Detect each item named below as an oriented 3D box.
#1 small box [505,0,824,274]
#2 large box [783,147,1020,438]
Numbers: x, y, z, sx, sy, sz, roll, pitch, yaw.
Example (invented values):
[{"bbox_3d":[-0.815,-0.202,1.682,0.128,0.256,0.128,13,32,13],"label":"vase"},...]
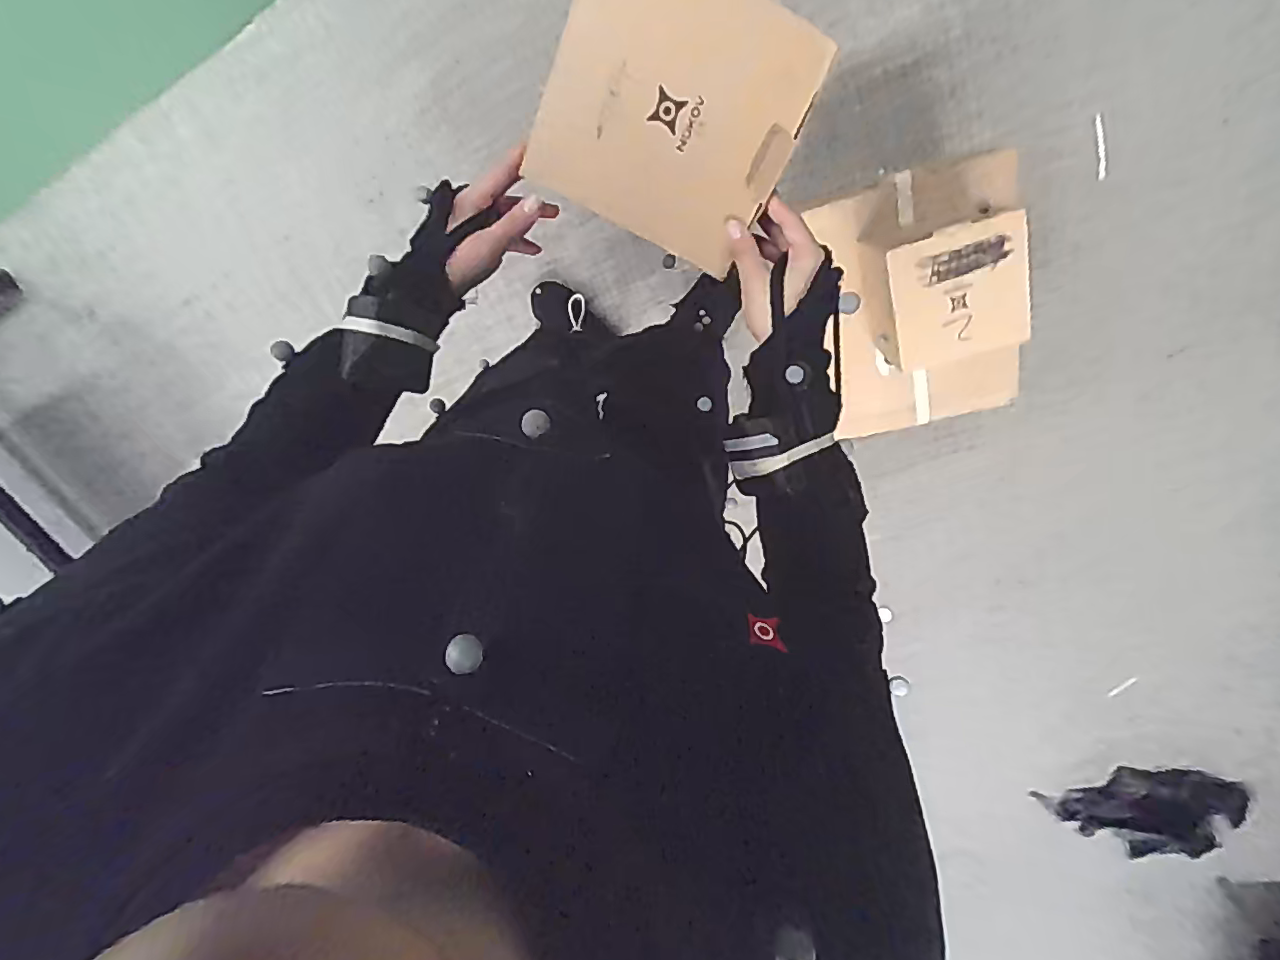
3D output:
[{"bbox_3d":[0.016,-0.293,0.446,0.179,0.176,0.168,23,115,-7],"label":"small box"},{"bbox_3d":[0.474,-0.348,1.021,0.320,0.320,0.408,-11,116,16],"label":"large box"}]
